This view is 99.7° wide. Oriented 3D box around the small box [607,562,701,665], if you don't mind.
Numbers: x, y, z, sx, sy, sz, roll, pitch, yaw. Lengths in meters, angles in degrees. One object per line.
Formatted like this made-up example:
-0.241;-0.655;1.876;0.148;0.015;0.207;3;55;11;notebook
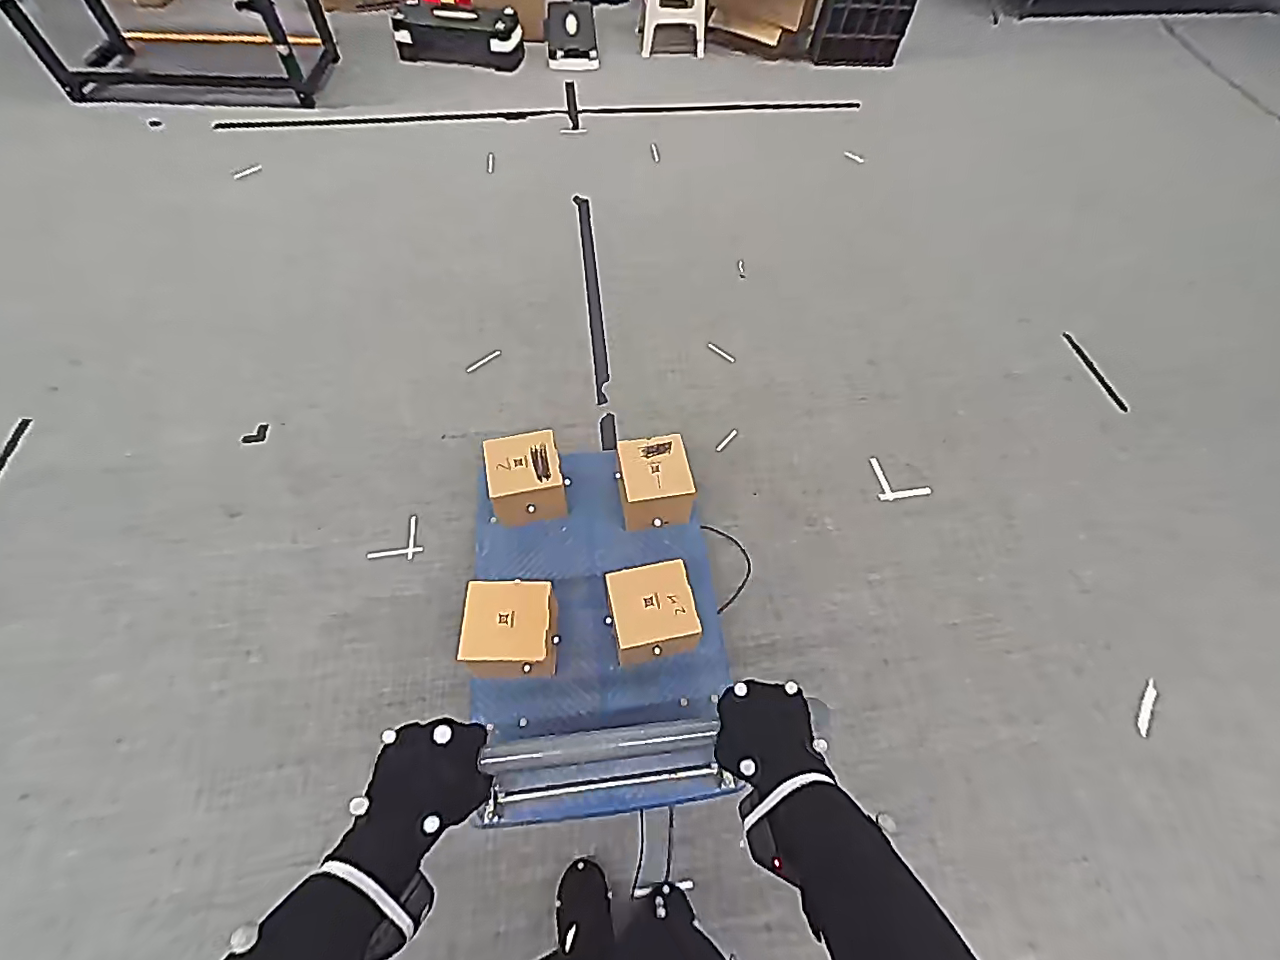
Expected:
0.027;0.305;1.217;0.179;0.176;0.168;-9;60;-8;small box

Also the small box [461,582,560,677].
-0.276;0.332;1.189;0.179;0.176;0.168;1;59;-3;small box

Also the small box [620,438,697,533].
0.039;0.015;1.391;0.168;0.176;0.179;-8;61;-7;small box
